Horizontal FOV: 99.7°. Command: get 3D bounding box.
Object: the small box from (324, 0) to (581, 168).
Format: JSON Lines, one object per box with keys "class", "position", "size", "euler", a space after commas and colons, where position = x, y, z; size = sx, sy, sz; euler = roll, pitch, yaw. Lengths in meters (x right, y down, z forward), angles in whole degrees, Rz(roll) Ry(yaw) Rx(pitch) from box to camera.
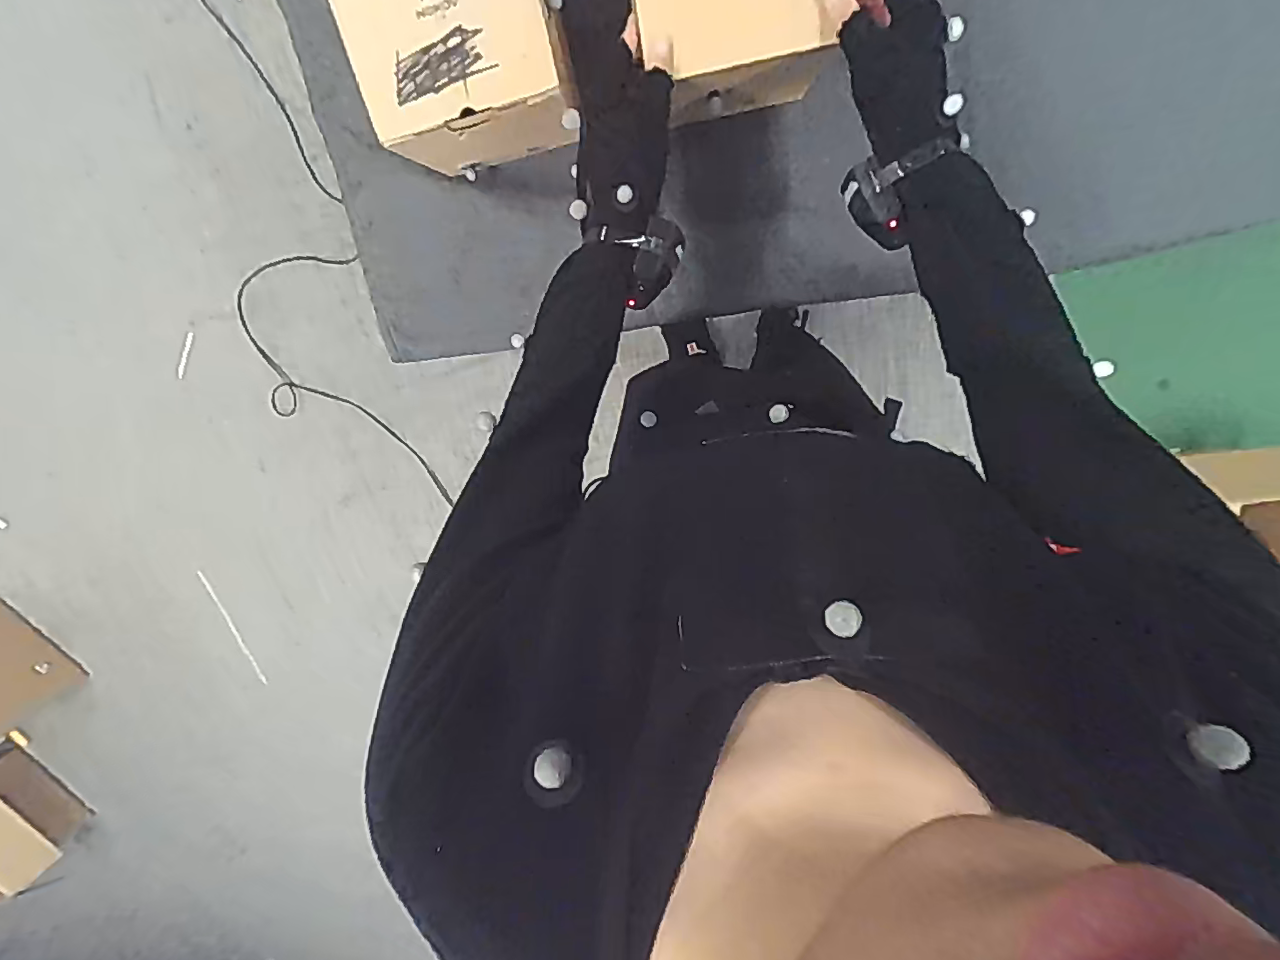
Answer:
{"class": "small box", "position": [-0.161, -0.406, 0.496], "size": [0.168, 0.176, 0.179], "euler": [-12, 109, 7]}
